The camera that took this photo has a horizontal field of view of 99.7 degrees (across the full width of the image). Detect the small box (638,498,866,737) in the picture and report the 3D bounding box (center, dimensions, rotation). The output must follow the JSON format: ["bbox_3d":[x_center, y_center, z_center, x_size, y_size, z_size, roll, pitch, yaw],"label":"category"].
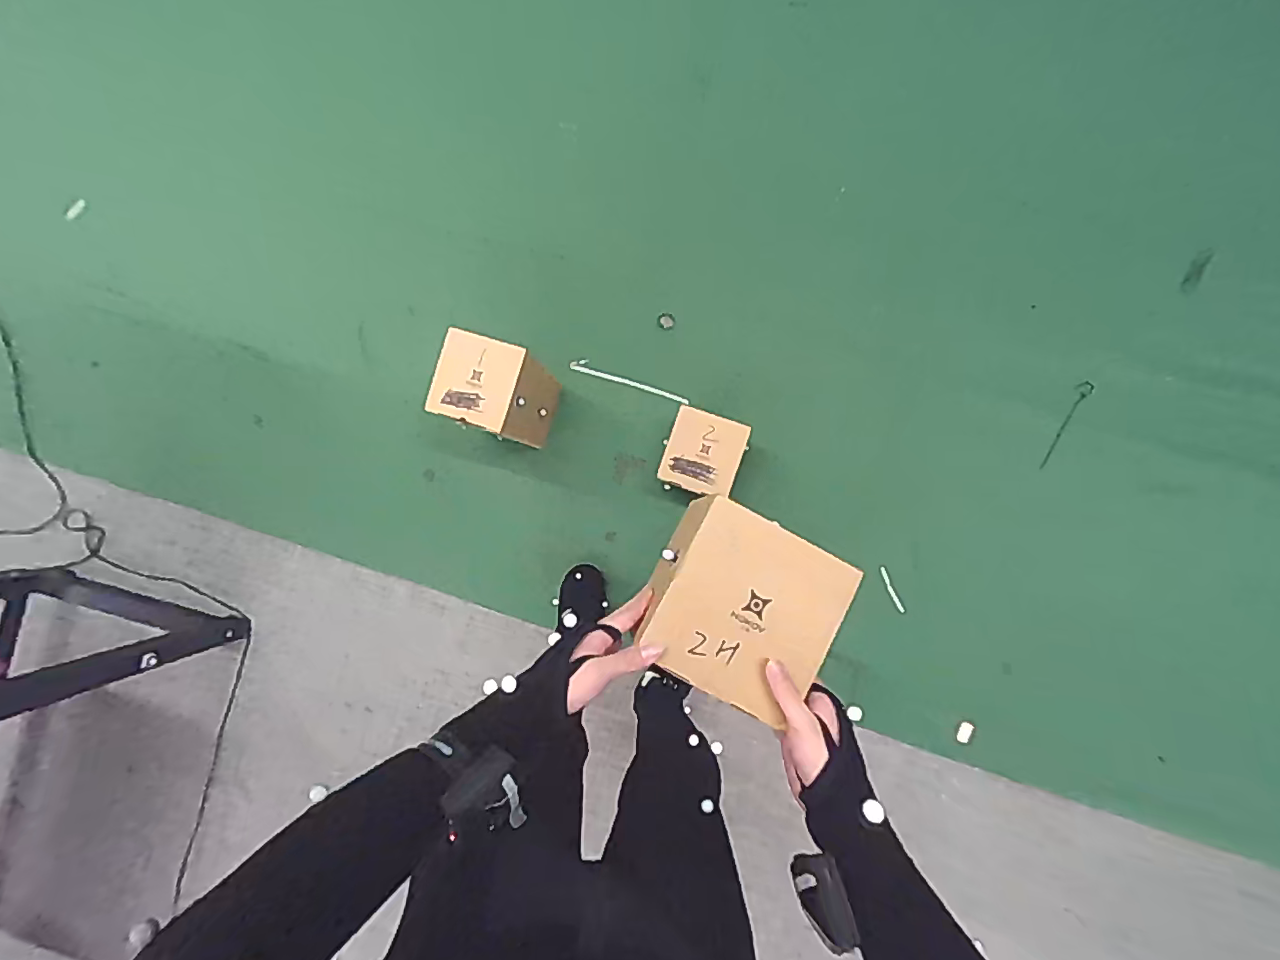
[{"bbox_3d":[0.106,0.137,0.598,0.168,0.176,0.179,29,84,-1],"label":"small box"}]

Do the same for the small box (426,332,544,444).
[{"bbox_3d":[-0.317,-0.184,1.141,0.168,0.176,0.179,17,89,4],"label":"small box"}]

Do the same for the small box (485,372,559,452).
[{"bbox_3d":[-0.306,-0.178,1.304,0.168,0.176,0.179,17,90,4],"label":"small box"}]
